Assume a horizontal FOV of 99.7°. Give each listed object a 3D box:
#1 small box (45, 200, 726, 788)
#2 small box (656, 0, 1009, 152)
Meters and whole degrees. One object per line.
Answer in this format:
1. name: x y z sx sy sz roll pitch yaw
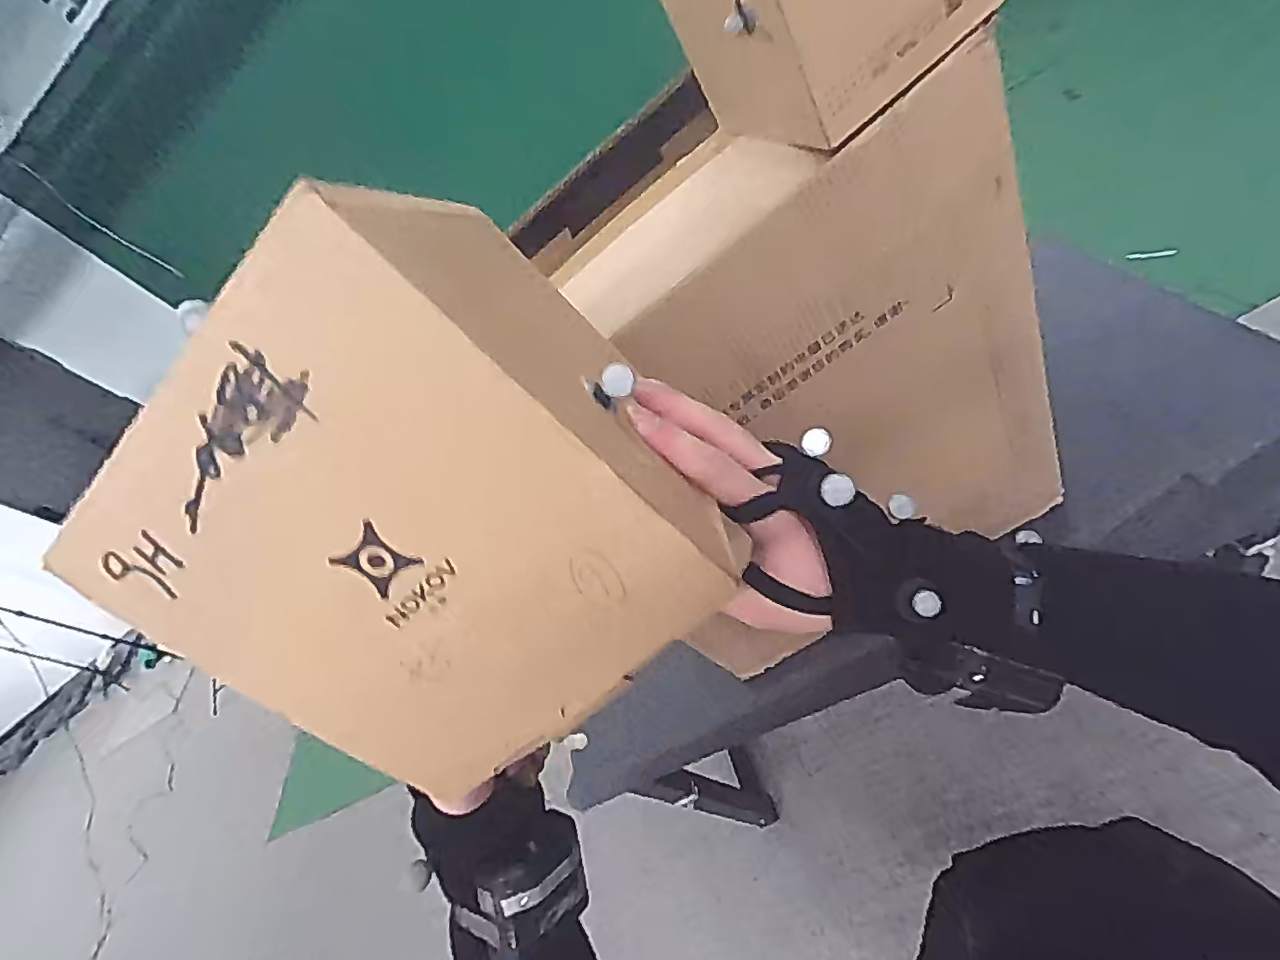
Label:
1. small box: -0.085 -0.004 0.259 0.168 0.179 0.176 -42 19 16
2. small box: 0.121 -0.361 0.373 0.168 0.176 0.179 -38 40 7
